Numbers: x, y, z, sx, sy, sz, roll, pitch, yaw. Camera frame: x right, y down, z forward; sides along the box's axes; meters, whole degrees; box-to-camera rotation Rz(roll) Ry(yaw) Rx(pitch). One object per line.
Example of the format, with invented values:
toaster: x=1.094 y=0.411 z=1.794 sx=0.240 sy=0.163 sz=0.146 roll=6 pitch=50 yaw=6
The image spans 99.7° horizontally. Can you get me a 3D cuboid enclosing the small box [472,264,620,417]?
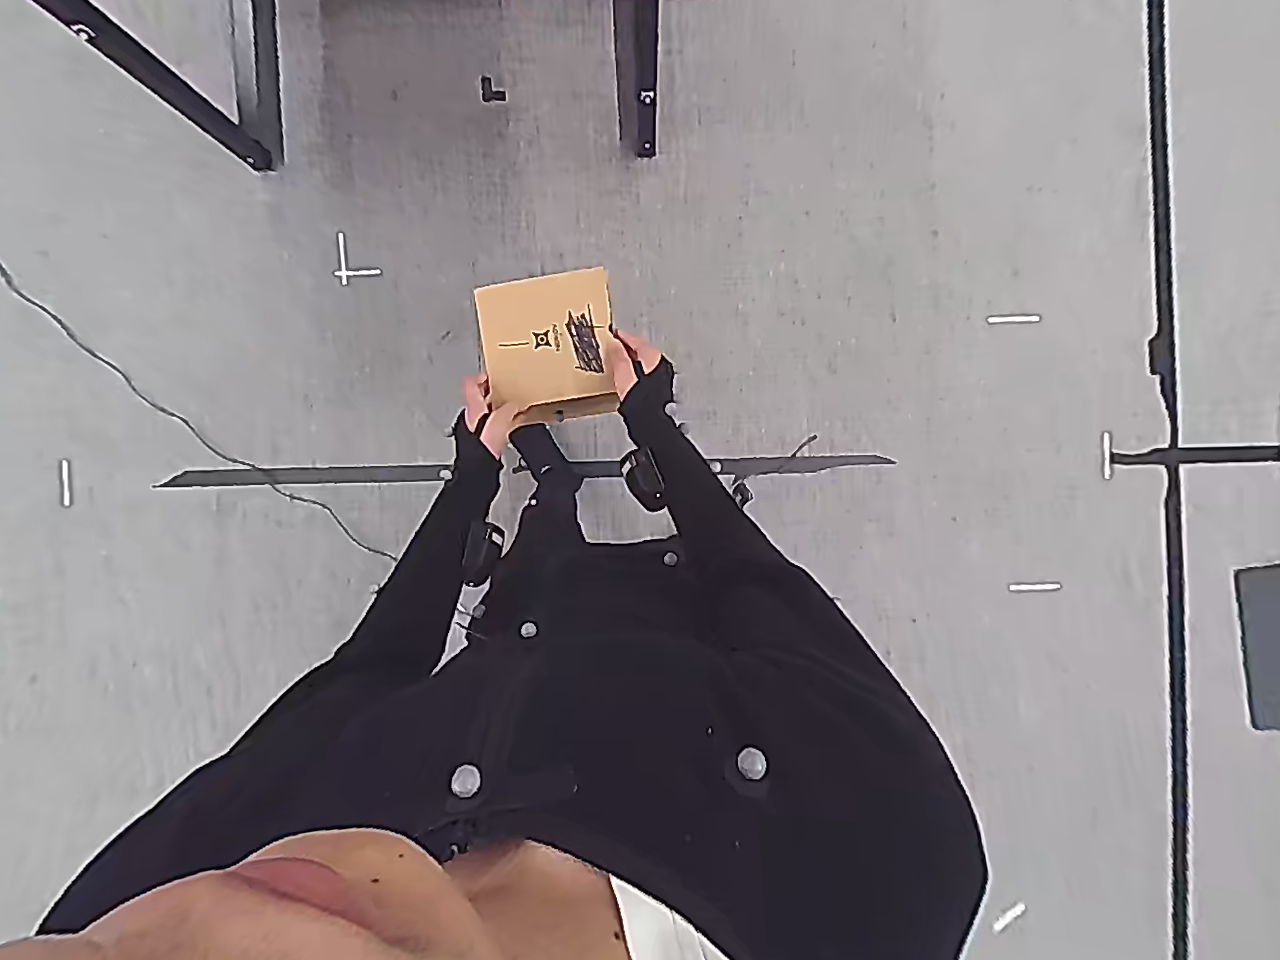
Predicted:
small box: x=-0.125 y=-0.190 z=0.782 sx=0.179 sy=0.176 sz=0.168 roll=-9 pitch=89 yaw=-1
